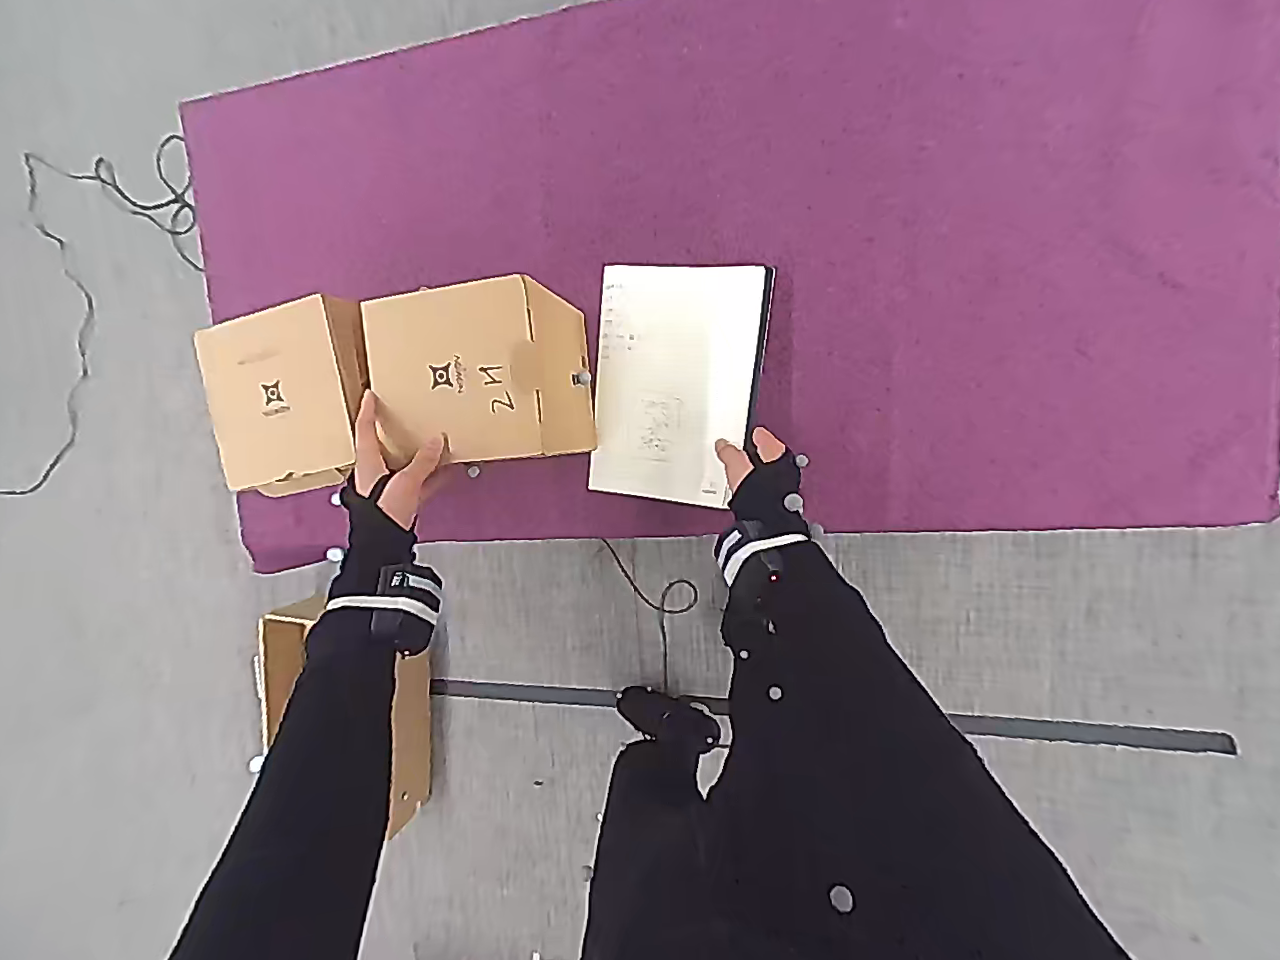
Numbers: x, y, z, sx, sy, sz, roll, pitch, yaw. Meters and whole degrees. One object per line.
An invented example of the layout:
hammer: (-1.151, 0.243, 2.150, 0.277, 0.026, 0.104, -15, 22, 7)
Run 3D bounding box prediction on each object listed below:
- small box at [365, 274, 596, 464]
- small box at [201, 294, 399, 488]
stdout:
small box: (-0.160, -0.106, 0.587, 0.179, 0.176, 0.168, -4, 94, 12)
small box: (-0.353, -0.097, 0.635, 0.168, 0.176, 0.179, -10, 93, 13)
